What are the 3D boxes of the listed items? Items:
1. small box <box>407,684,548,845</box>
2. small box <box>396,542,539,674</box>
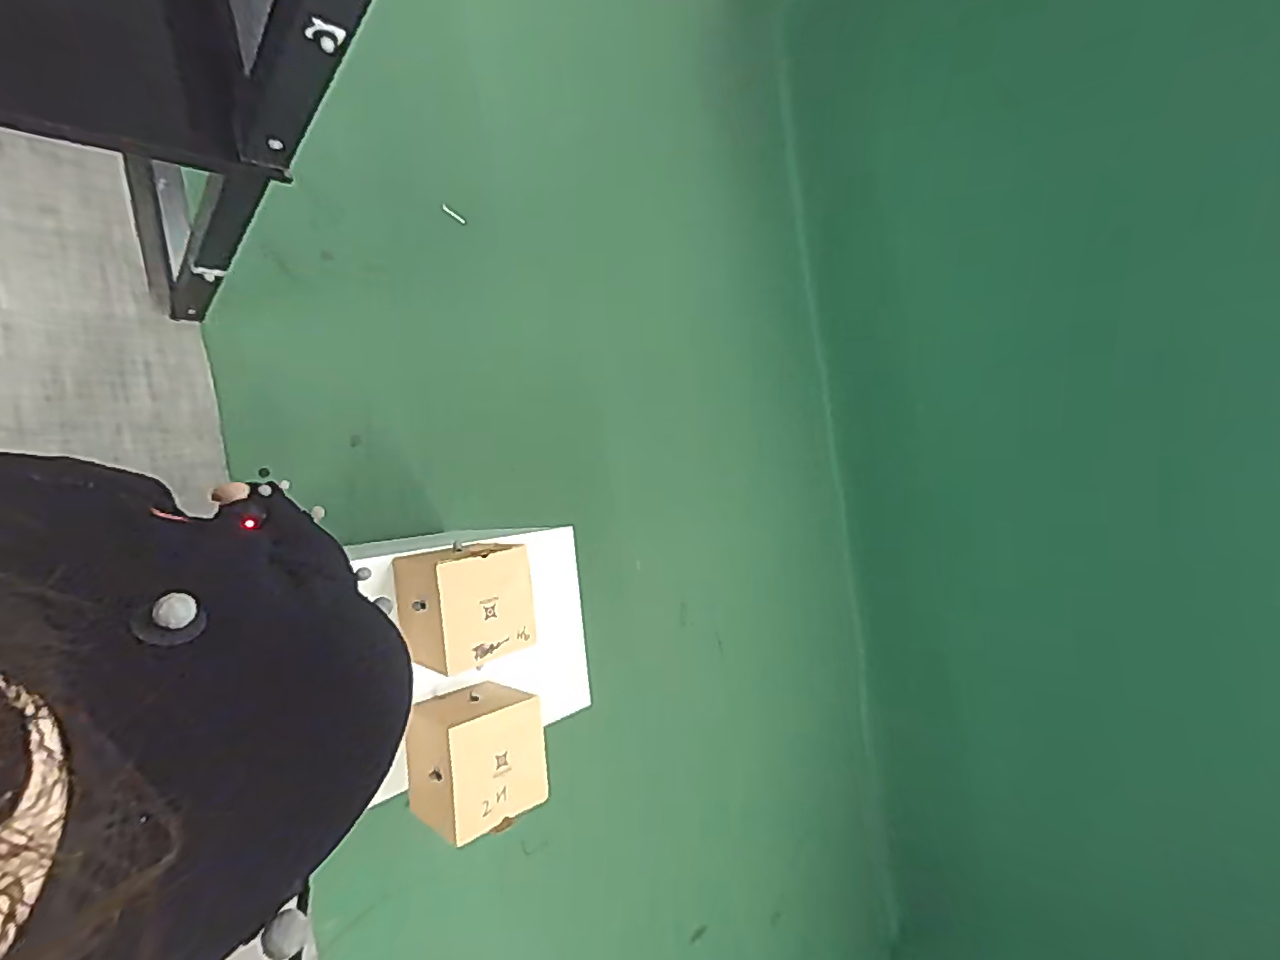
[{"bbox_3d":[-0.273,0.453,0.901,0.168,0.176,0.179,-3,87,-45],"label":"small box"},{"bbox_3d":[-0.294,0.204,0.911,0.168,0.176,0.179,-7,91,-45],"label":"small box"}]
